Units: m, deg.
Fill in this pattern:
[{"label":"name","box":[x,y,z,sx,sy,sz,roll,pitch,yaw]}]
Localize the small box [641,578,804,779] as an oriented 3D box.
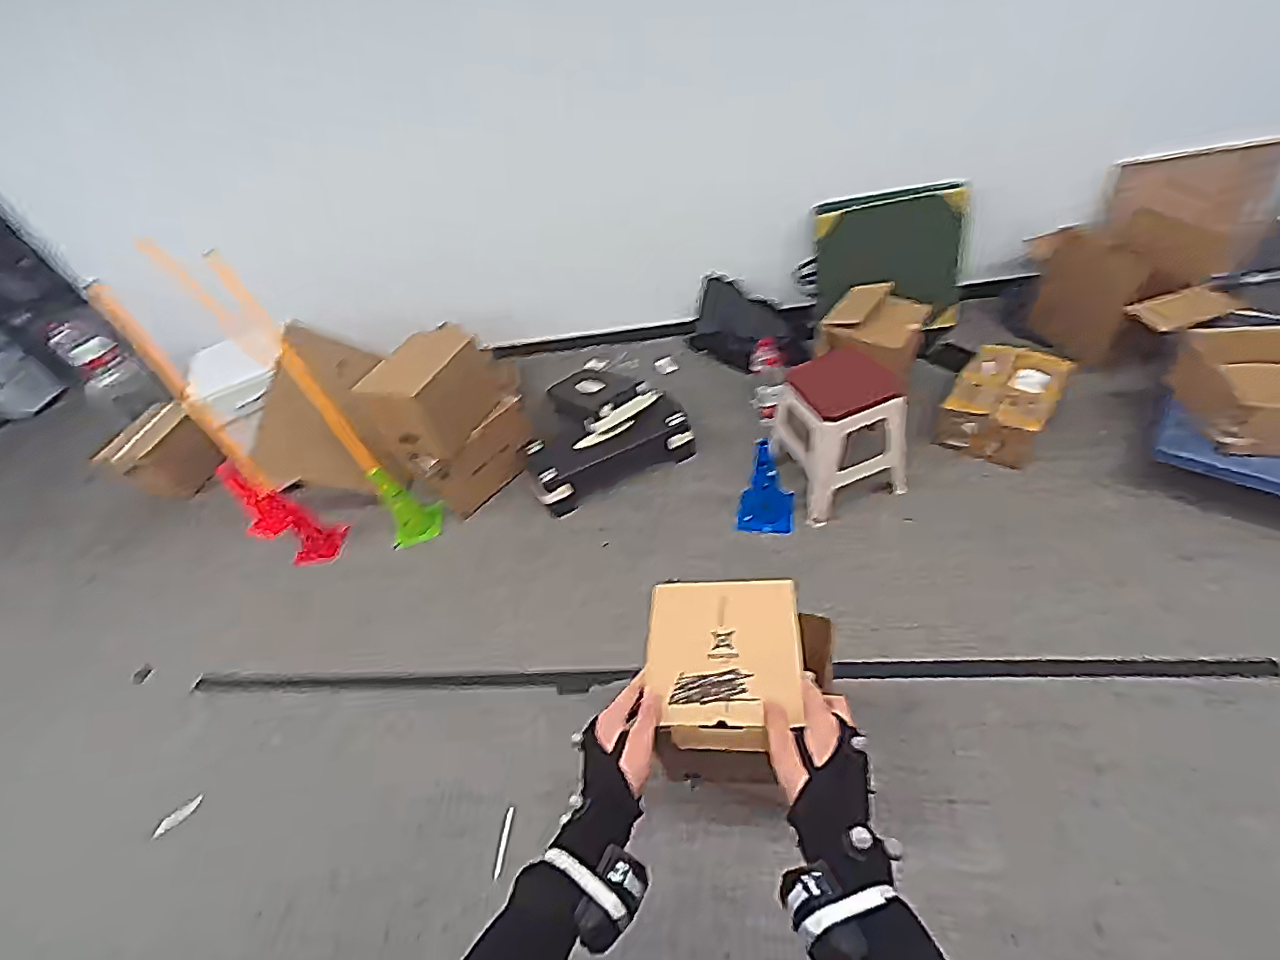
[{"label":"small box","box":[0.105,0.239,0.647,0.168,0.176,0.179,-3,44,12]}]
